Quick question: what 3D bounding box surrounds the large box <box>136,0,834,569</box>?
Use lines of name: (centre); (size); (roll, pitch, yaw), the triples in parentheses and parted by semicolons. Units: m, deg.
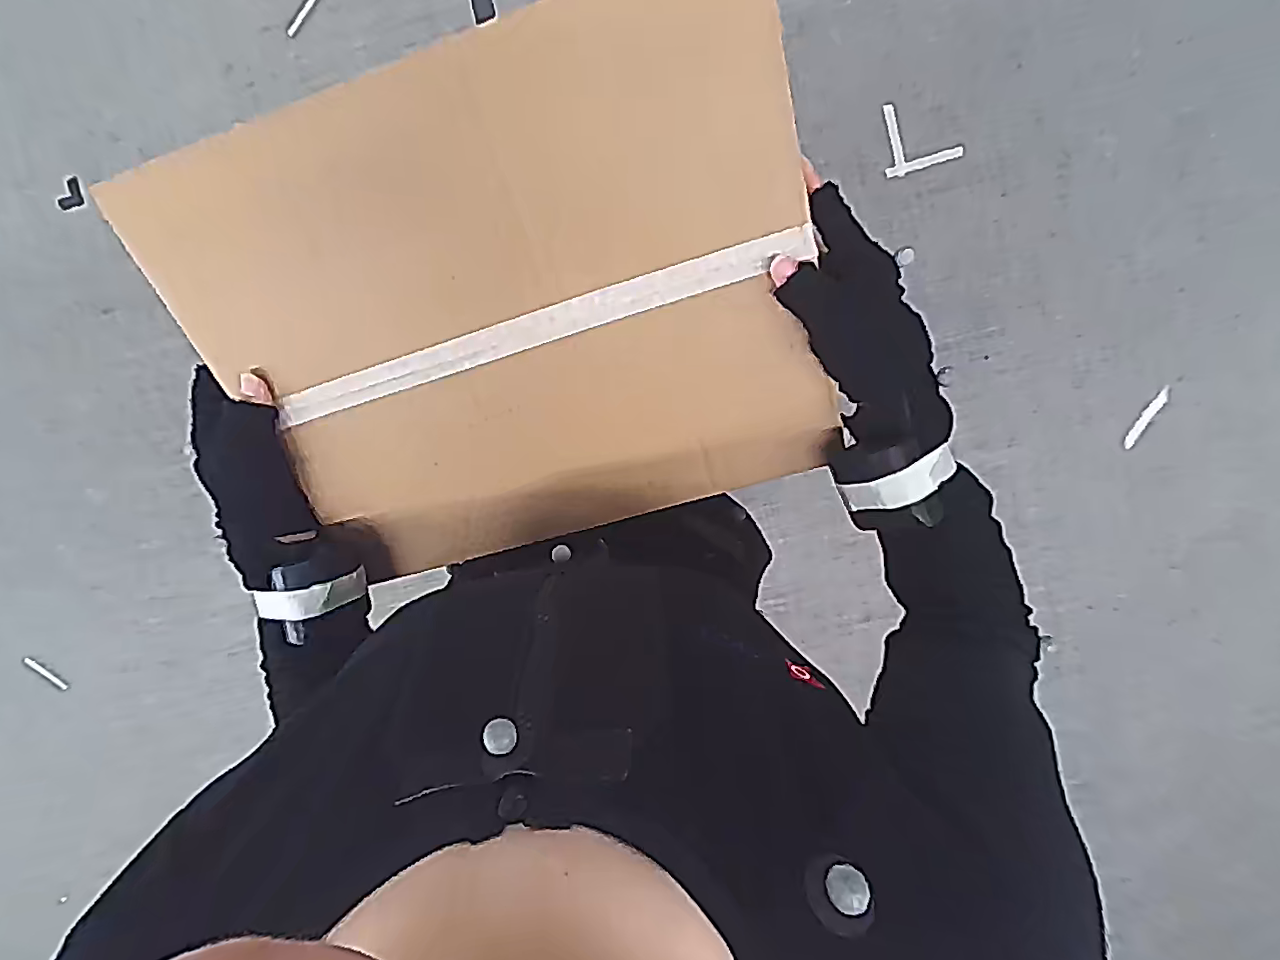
large box: (-0.085, -0.171, 0.504); (0.408, 0.320, 0.320); (-15, 118, 8)
